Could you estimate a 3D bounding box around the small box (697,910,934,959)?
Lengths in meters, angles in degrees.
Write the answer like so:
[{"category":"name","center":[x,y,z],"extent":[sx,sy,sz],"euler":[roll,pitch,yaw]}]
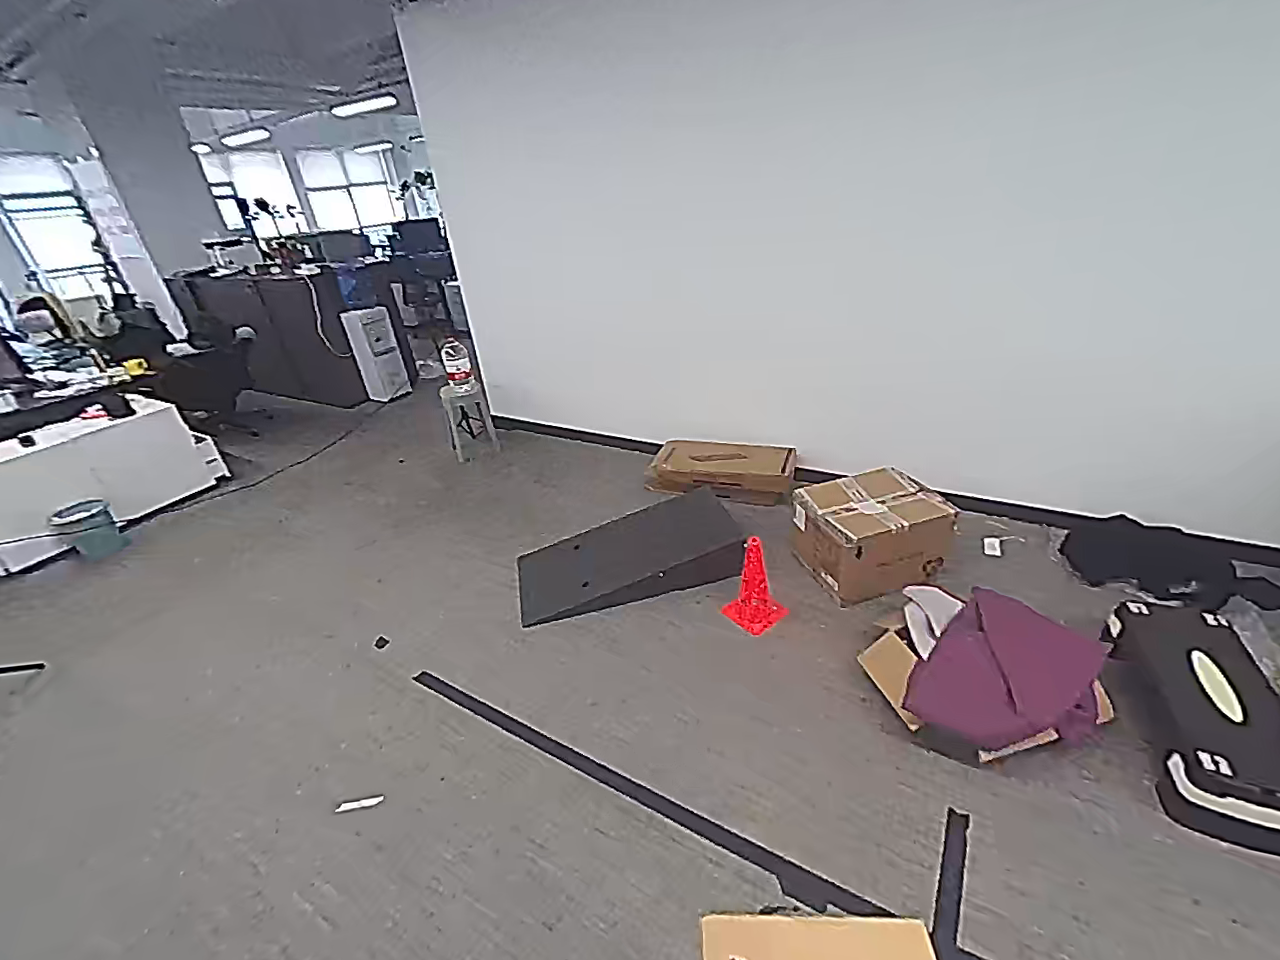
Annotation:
[{"category":"small box","center":[0.135,0.454,0.404],"extent":[0.179,0.176,0.168],"euler":[-1,35,3]}]
